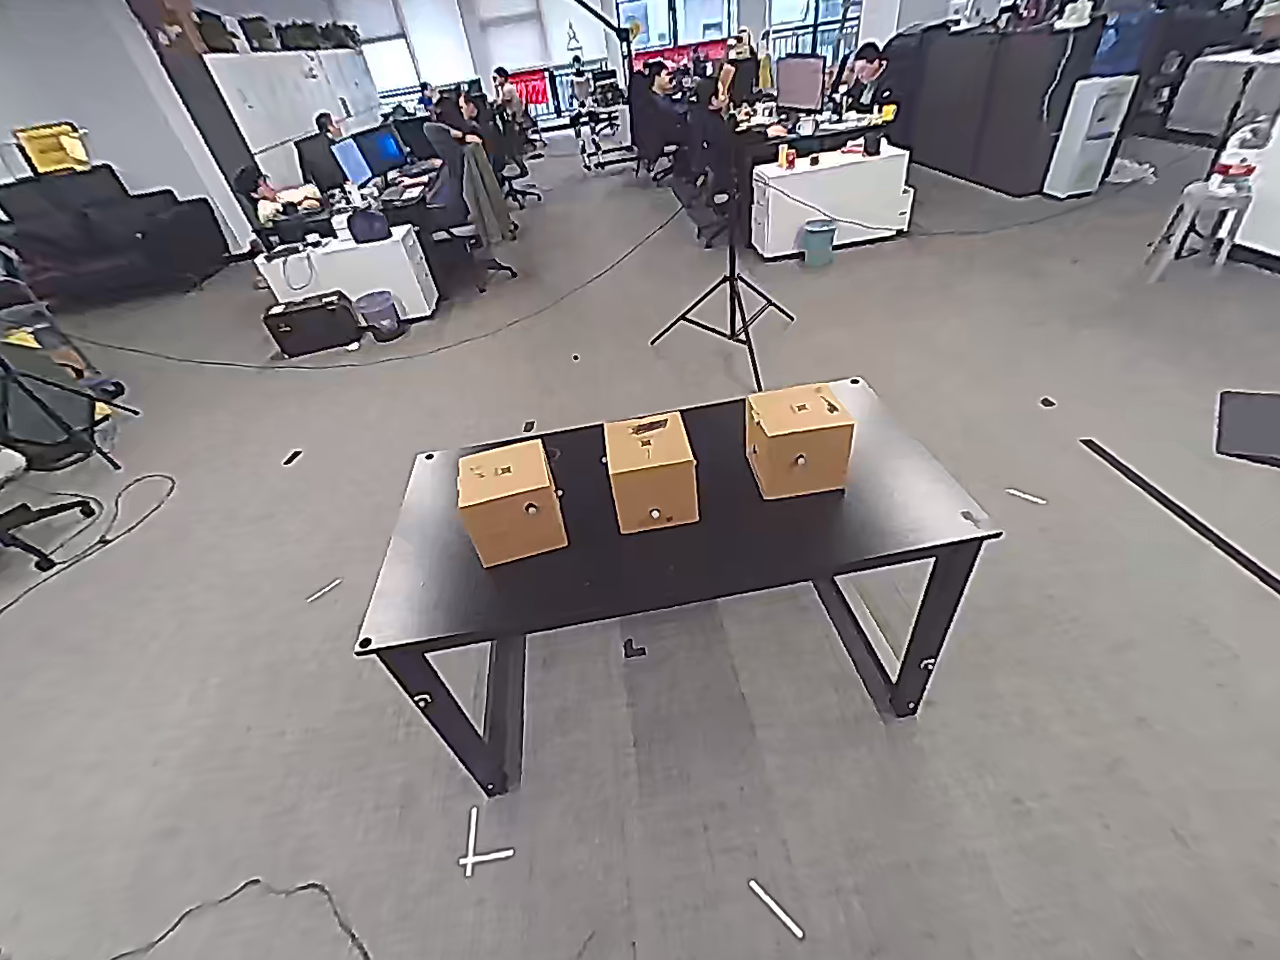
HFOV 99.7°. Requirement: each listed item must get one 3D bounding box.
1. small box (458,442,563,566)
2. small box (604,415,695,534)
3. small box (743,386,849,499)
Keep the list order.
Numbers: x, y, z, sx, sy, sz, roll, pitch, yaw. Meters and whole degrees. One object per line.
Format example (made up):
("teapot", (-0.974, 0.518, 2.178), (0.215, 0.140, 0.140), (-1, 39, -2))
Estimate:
("small box", (-0.263, 0.050, 1.120), (0.179, 0.176, 0.168), (-15, 40, -6))
("small box", (0.019, -0.012, 1.140), (0.168, 0.176, 0.179), (-10, 40, 0))
("small box", (0.327, -0.076, 1.156), (0.179, 0.176, 0.168), (-9, 39, 2))
